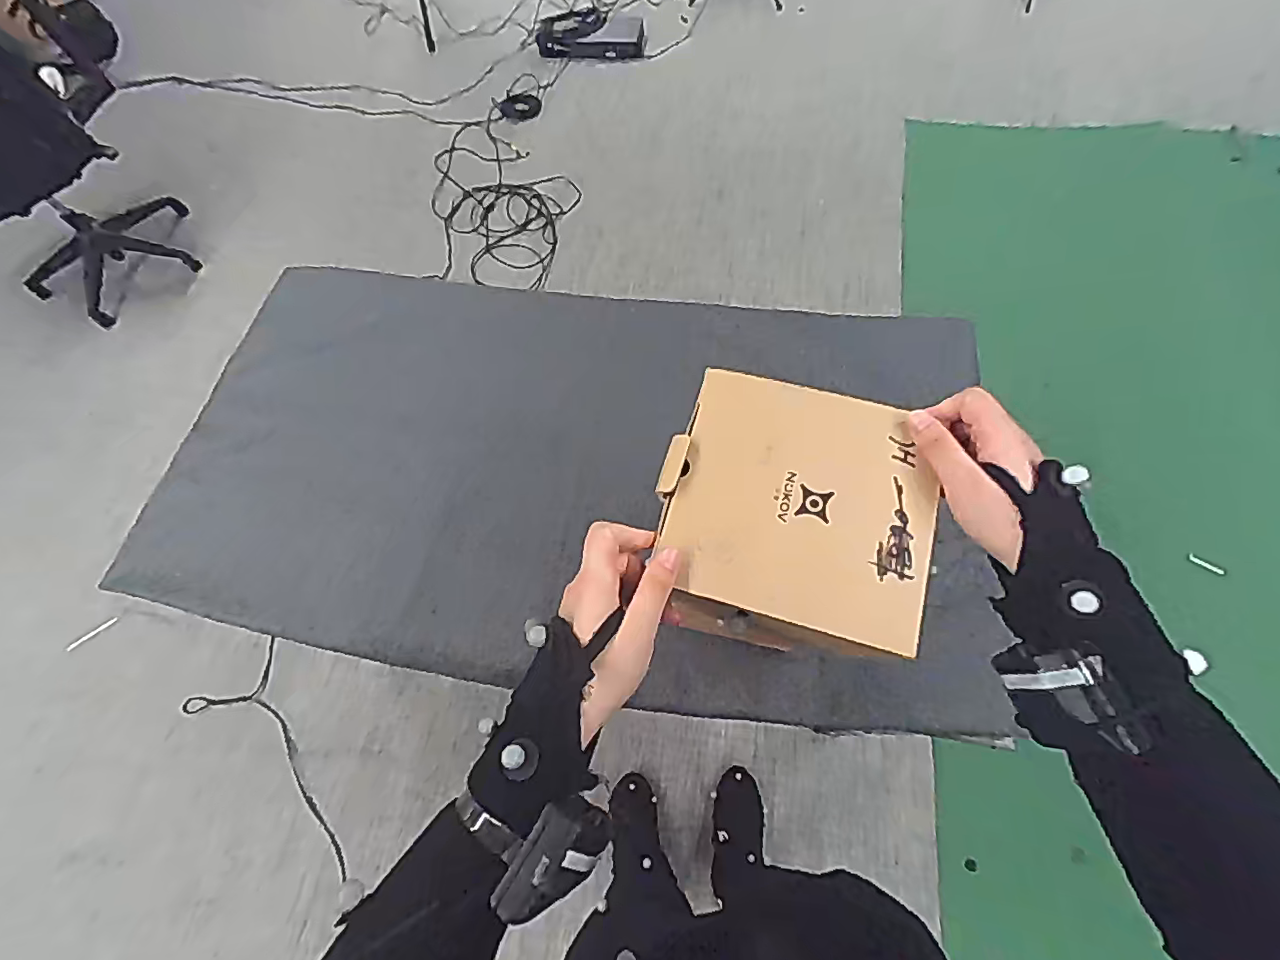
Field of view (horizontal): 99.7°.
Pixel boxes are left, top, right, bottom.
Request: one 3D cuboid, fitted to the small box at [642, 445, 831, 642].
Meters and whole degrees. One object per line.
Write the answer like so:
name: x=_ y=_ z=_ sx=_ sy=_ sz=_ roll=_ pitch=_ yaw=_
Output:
small box: x=0.107 y=0.082 z=0.632 sx=0.179 sy=0.176 sz=0.168 roll=11 pitch=66 yaw=8
